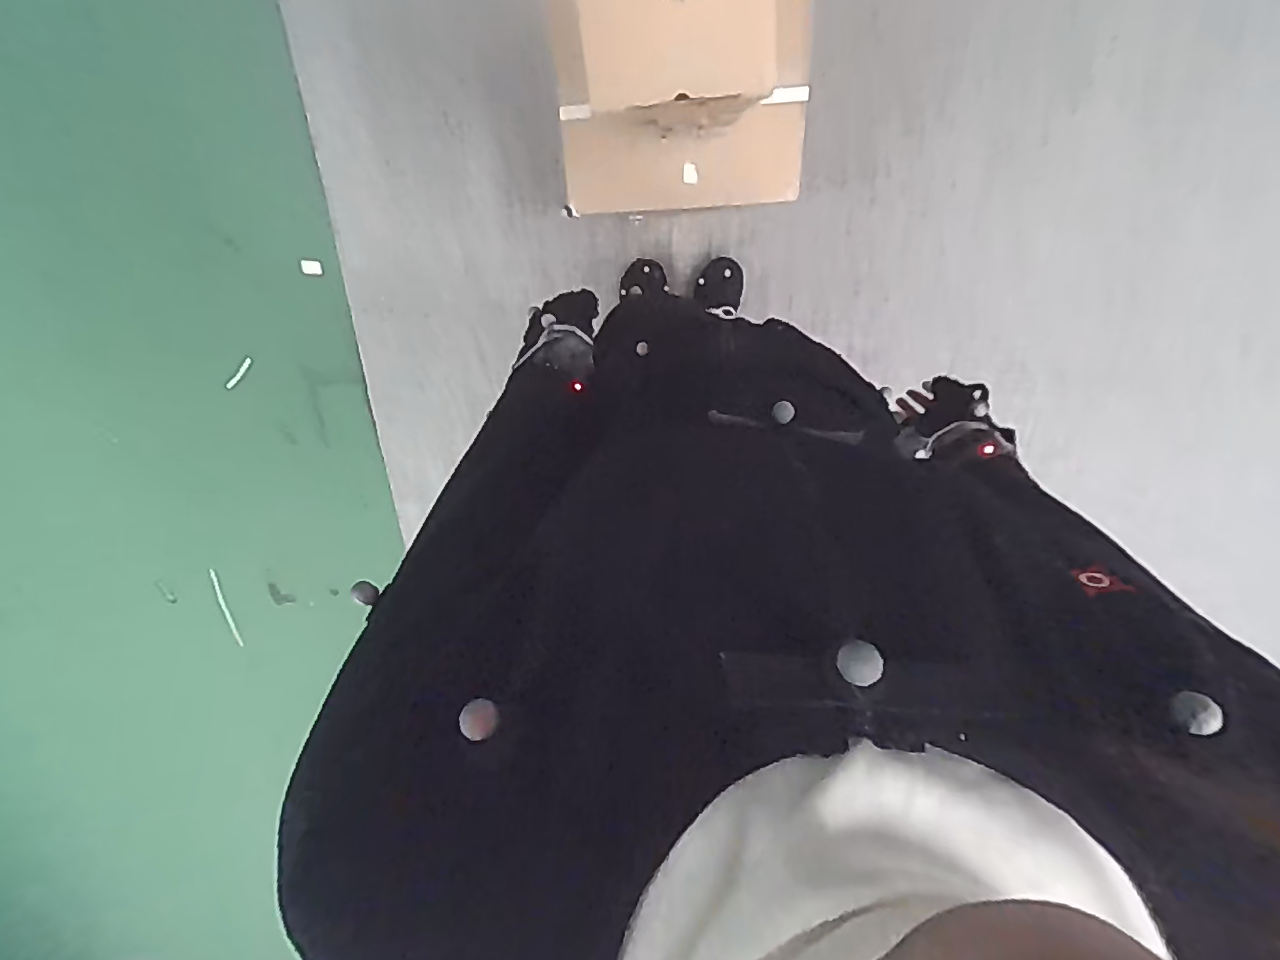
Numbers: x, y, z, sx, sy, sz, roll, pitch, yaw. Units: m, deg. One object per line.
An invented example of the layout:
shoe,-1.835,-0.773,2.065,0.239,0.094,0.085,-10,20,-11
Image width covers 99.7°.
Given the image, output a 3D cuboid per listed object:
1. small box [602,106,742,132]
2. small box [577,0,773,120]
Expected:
small box,0.036,-0.531,0.655,0.168,0.176,0.179,-3,119,4
small box,0.031,-0.452,0.511,0.168,0.176,0.179,-4,121,4
